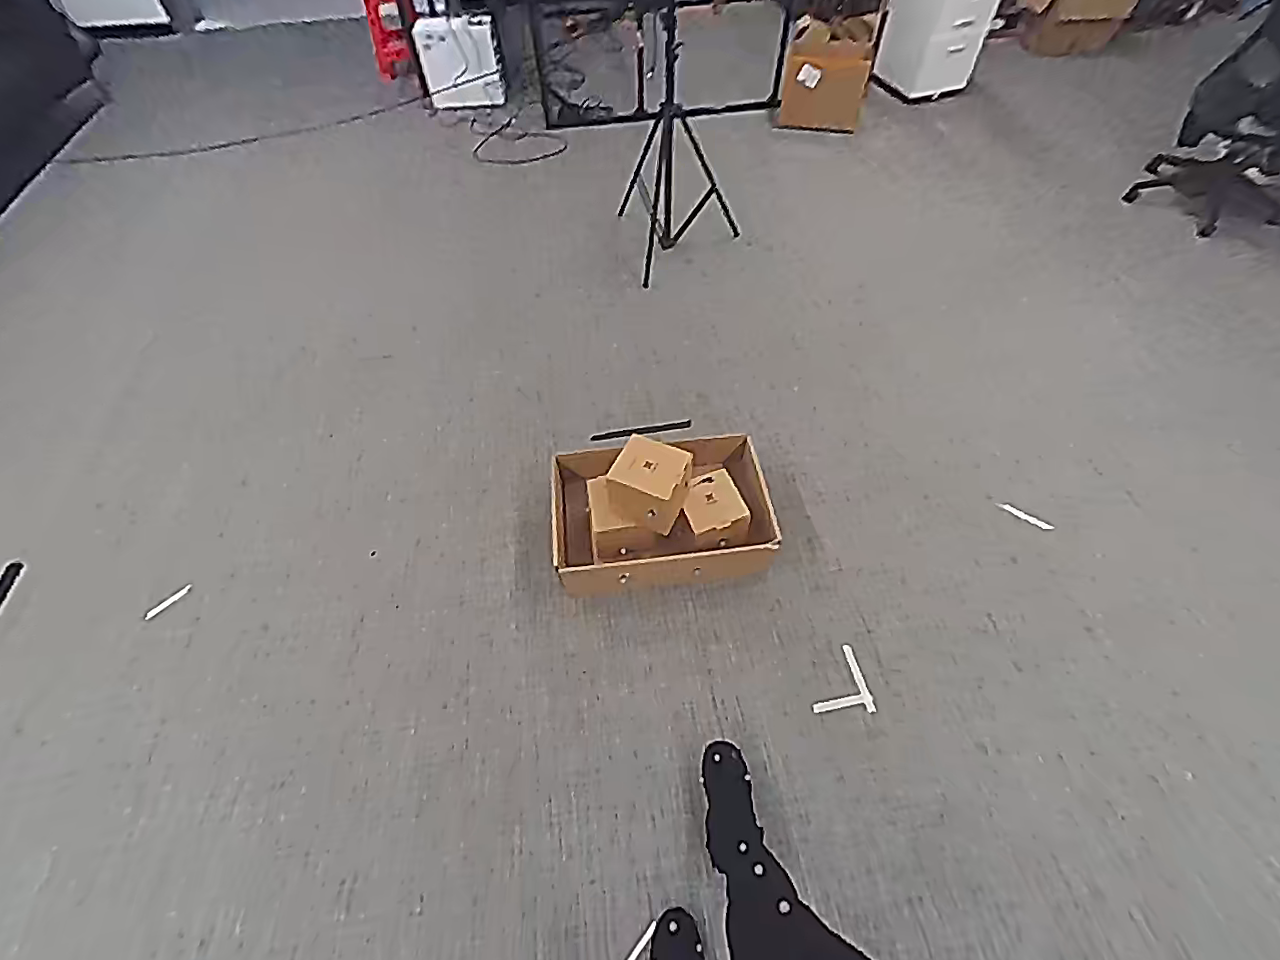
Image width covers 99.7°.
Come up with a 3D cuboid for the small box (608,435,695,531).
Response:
[{"bbox_3d":[0.033,0.013,1.432,0.179,0.176,0.168,19,55,16],"label":"small box"}]

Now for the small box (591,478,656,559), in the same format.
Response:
[{"bbox_3d":[-0.050,0.107,1.567,0.168,0.176,0.179,-8,55,-5],"label":"small box"}]
